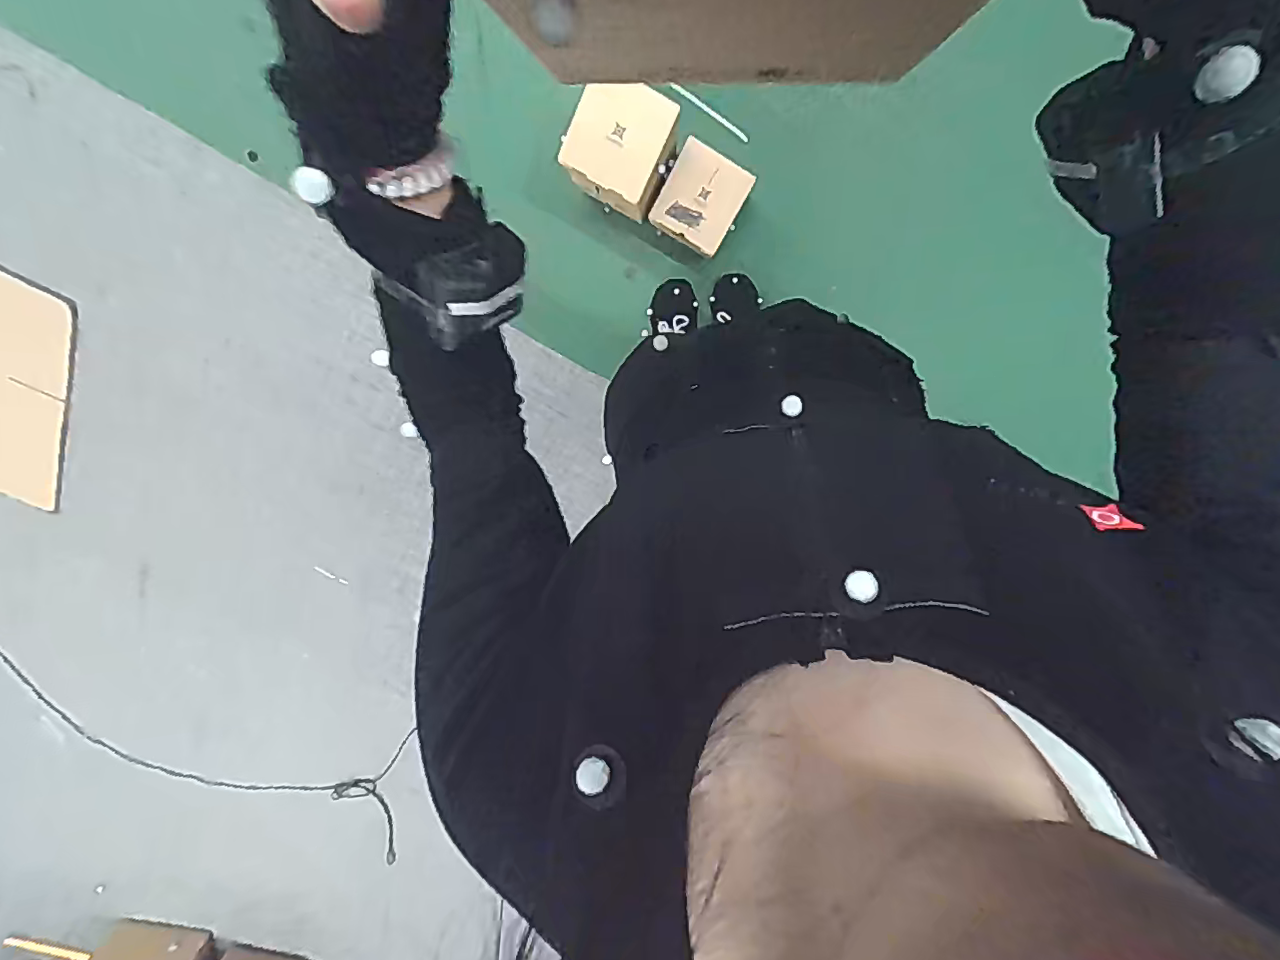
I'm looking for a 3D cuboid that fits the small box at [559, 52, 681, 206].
[{"bbox_3d":[-0.036,-0.653,1.031,0.168,0.176,0.179,26,111,-8],"label":"small box"}]
